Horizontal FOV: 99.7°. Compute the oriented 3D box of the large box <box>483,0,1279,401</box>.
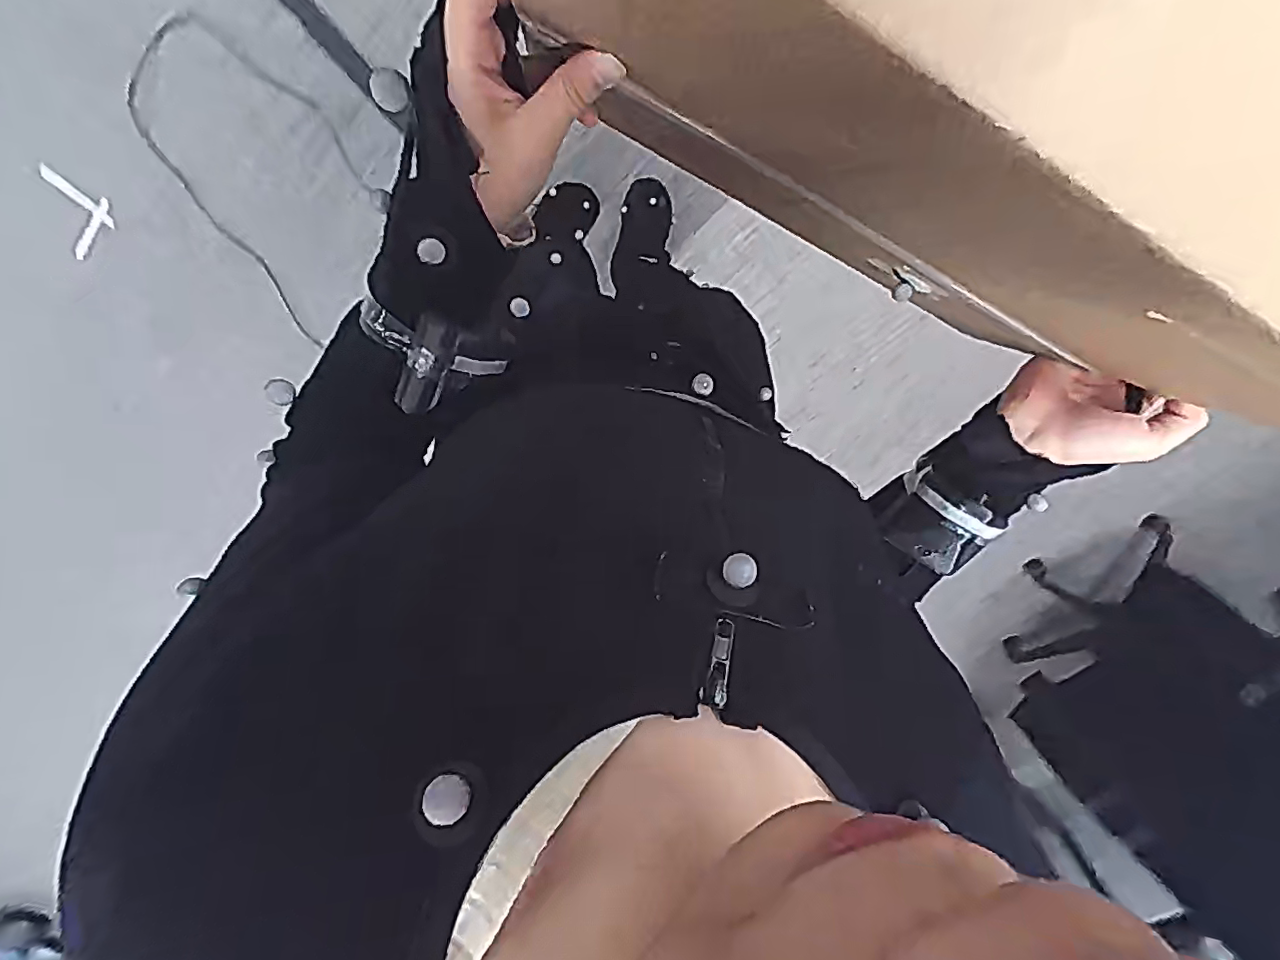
[{"bbox_3d":[0.171,-0.271,0.230,0.408,0.320,0.320,19,114,-14],"label":"large box"}]
